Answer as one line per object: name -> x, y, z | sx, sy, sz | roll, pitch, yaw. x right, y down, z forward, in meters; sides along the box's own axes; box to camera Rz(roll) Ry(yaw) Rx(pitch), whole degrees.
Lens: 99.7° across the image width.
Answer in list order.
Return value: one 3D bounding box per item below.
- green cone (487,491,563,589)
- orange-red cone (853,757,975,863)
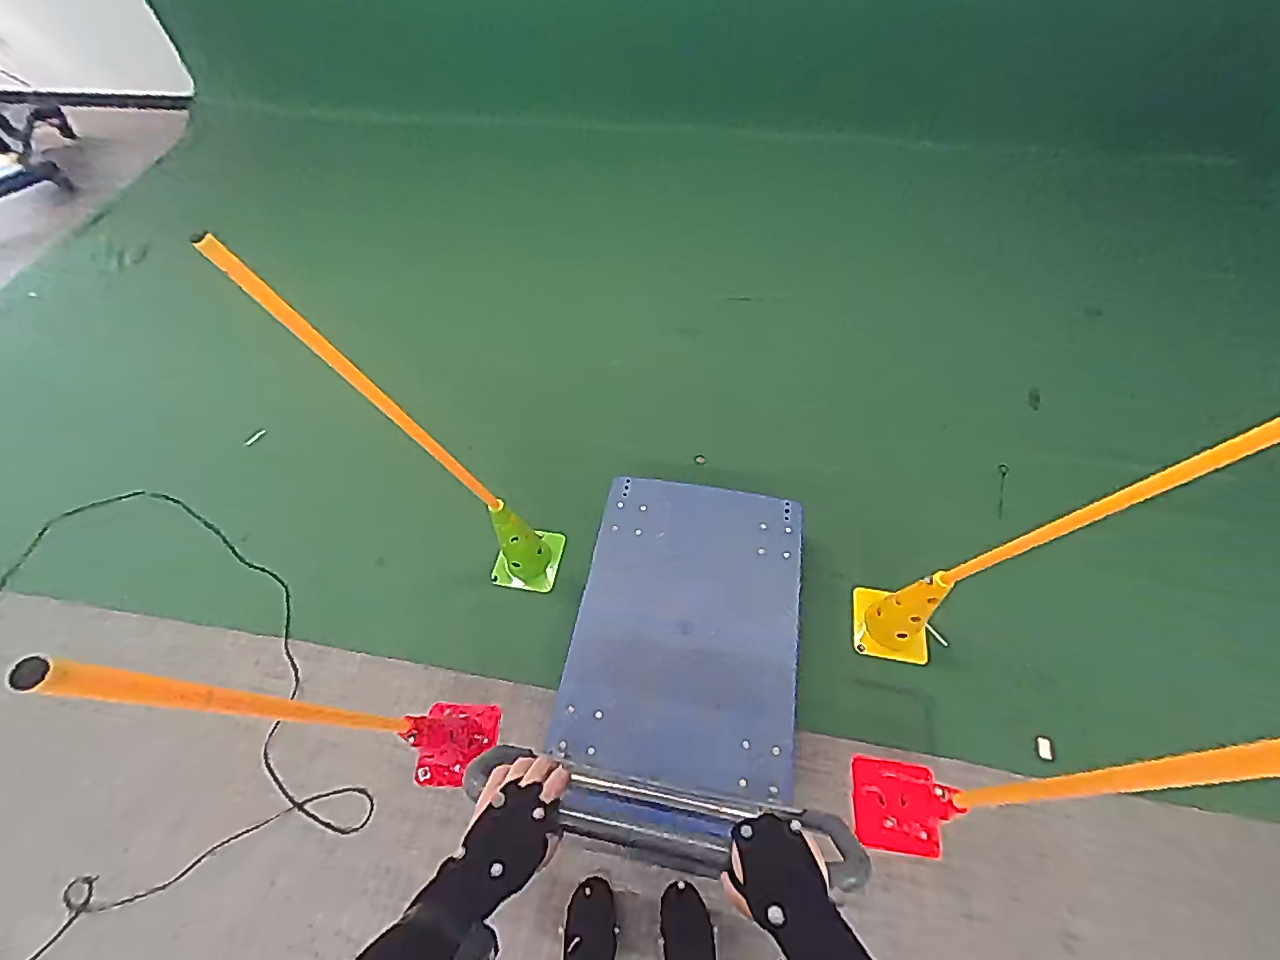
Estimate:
green cone -> -0.366, 0.147, 1.551 | 0.200, 0.368, 0.202 | 7, 58, 8
orange-red cone -> 0.615, 0.698, 1.163 | 0.198, 0.360, 0.199 | 8, 57, 7
